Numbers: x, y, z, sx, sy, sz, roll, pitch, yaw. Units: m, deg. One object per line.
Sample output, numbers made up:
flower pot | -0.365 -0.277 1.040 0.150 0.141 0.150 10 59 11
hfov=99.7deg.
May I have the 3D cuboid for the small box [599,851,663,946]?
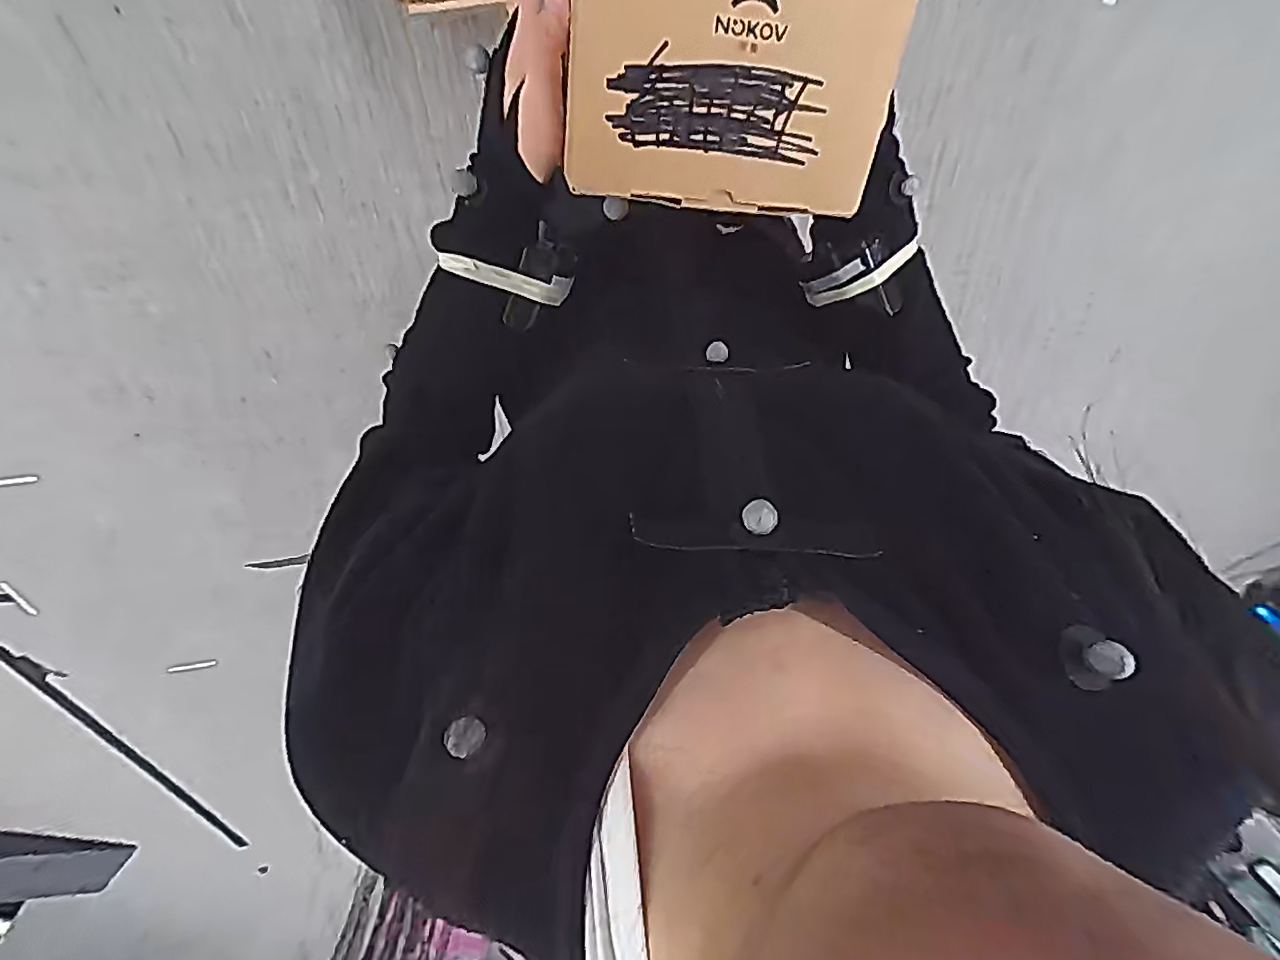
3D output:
small box | -0.030 1.248 1.617 0.168 0.176 0.179 -7 127 -9
